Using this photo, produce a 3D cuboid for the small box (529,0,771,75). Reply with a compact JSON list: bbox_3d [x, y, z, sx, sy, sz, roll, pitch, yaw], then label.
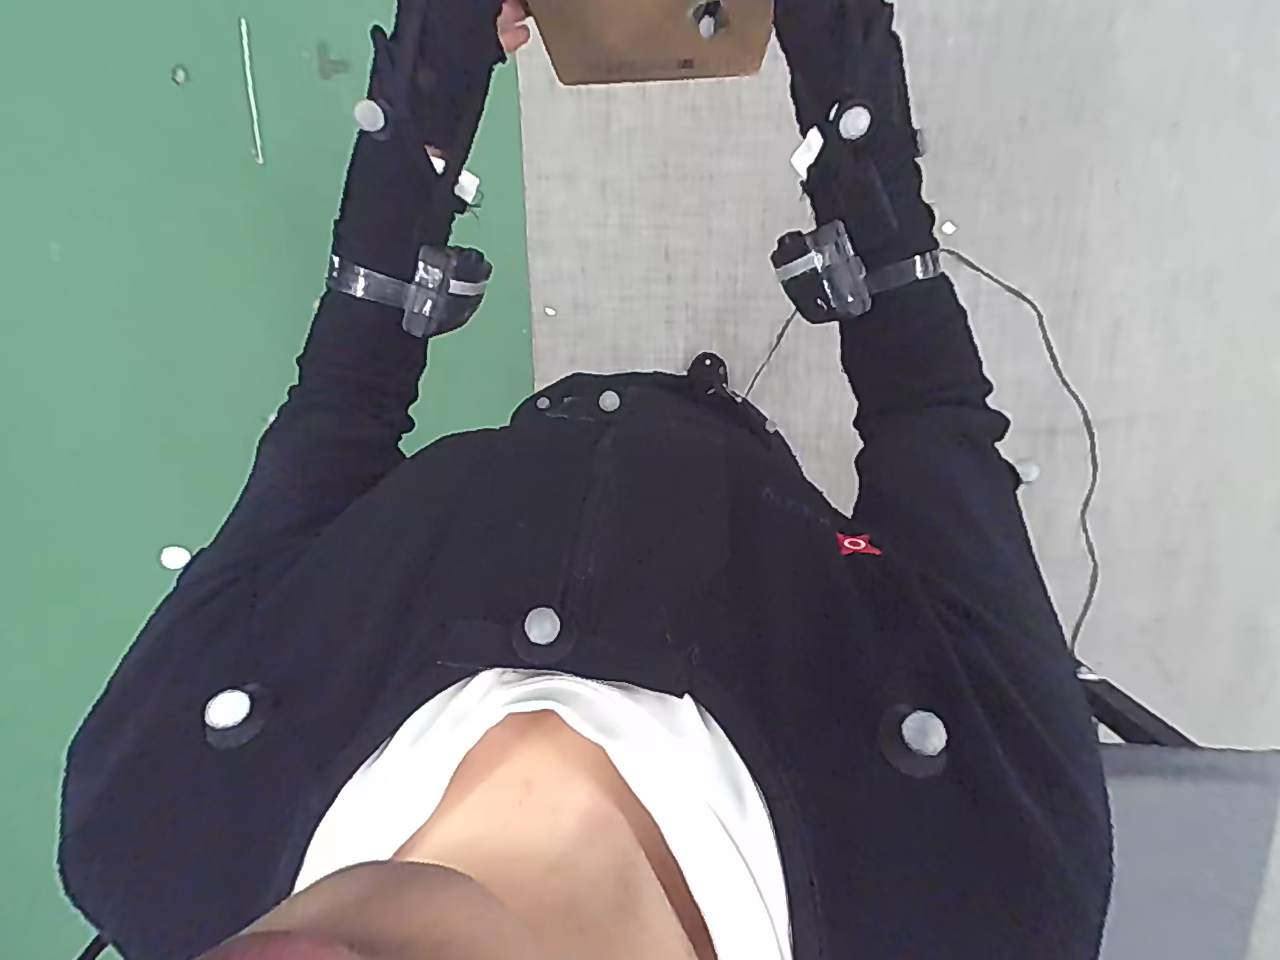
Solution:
[{"bbox_3d":[0.008,-0.395,0.350,0.168,0.176,0.179,0,101,3],"label":"small box"}]
